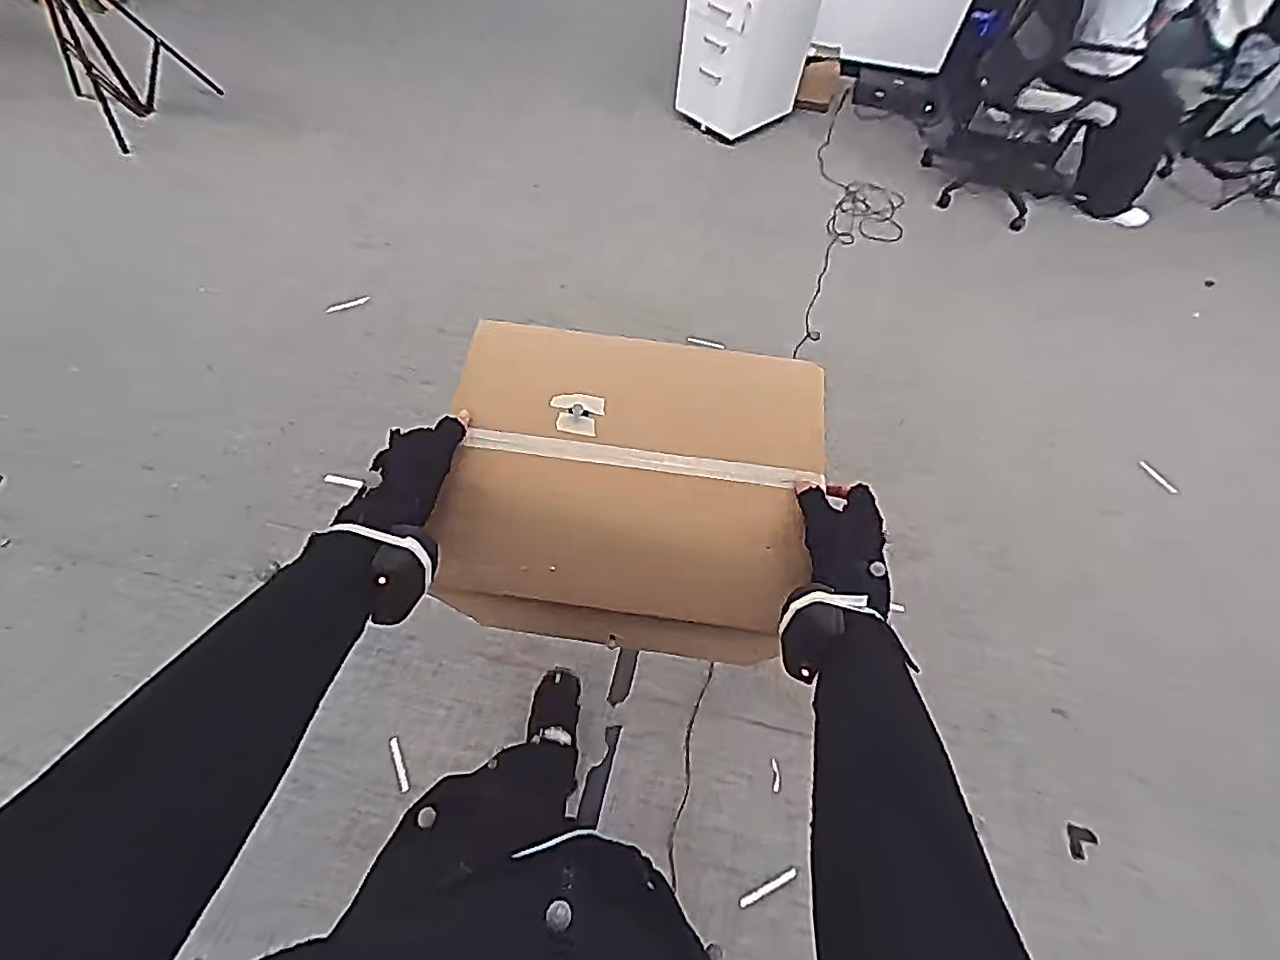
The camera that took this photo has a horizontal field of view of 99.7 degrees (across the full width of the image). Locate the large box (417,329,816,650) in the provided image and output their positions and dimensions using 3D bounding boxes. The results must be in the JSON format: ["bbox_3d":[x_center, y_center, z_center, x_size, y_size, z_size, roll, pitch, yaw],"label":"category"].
[{"bbox_3d":[-0.009,0.037,0.724,0.408,0.320,0.320,8,66,2],"label":"large box"}]
